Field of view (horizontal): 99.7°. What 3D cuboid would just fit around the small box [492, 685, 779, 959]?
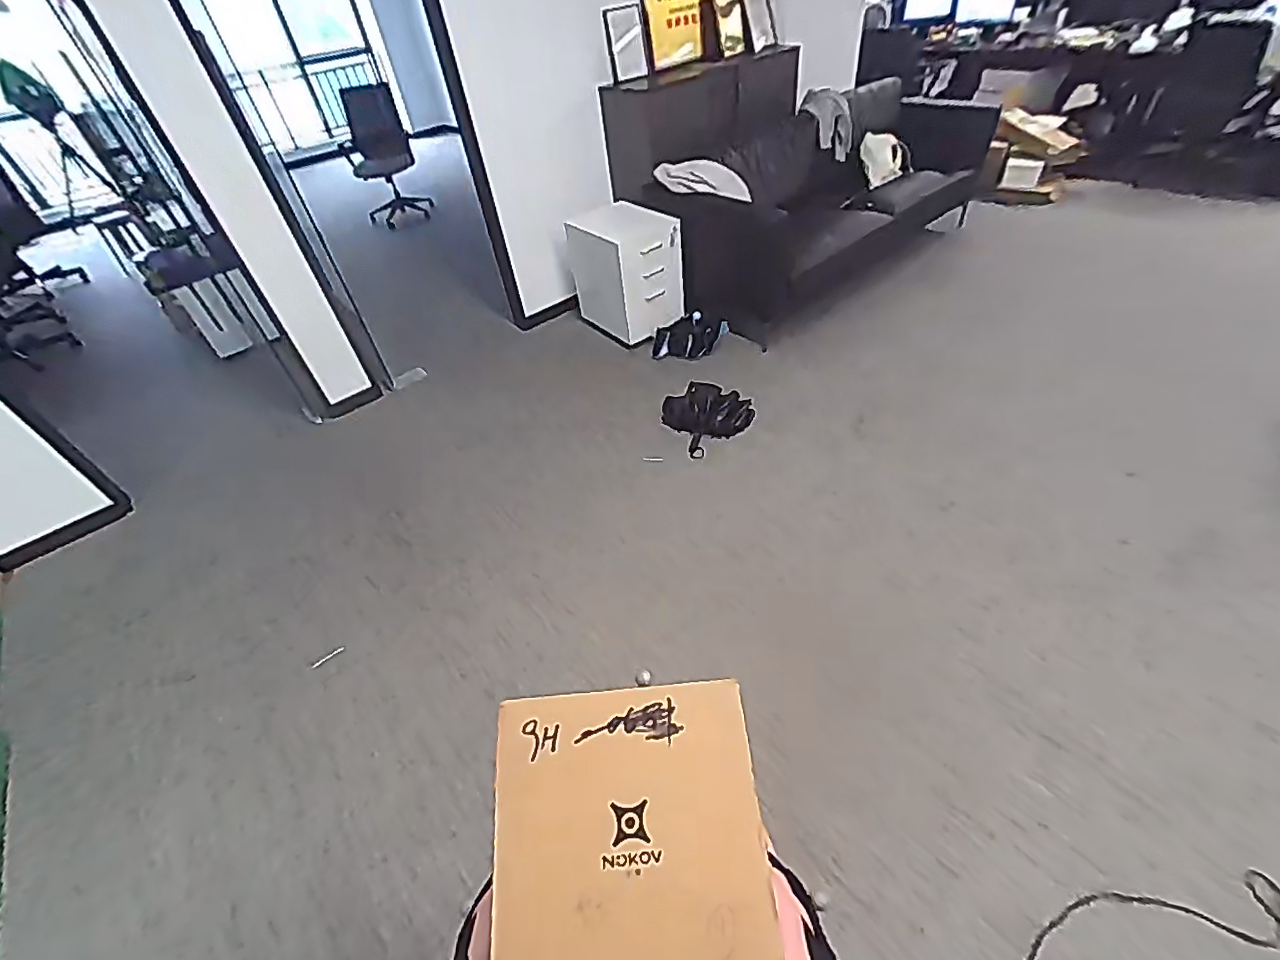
[{"bbox_3d":[-0.006,0.259,0.402,0.168,0.176,0.179,-4,62,-3],"label":"small box"}]
